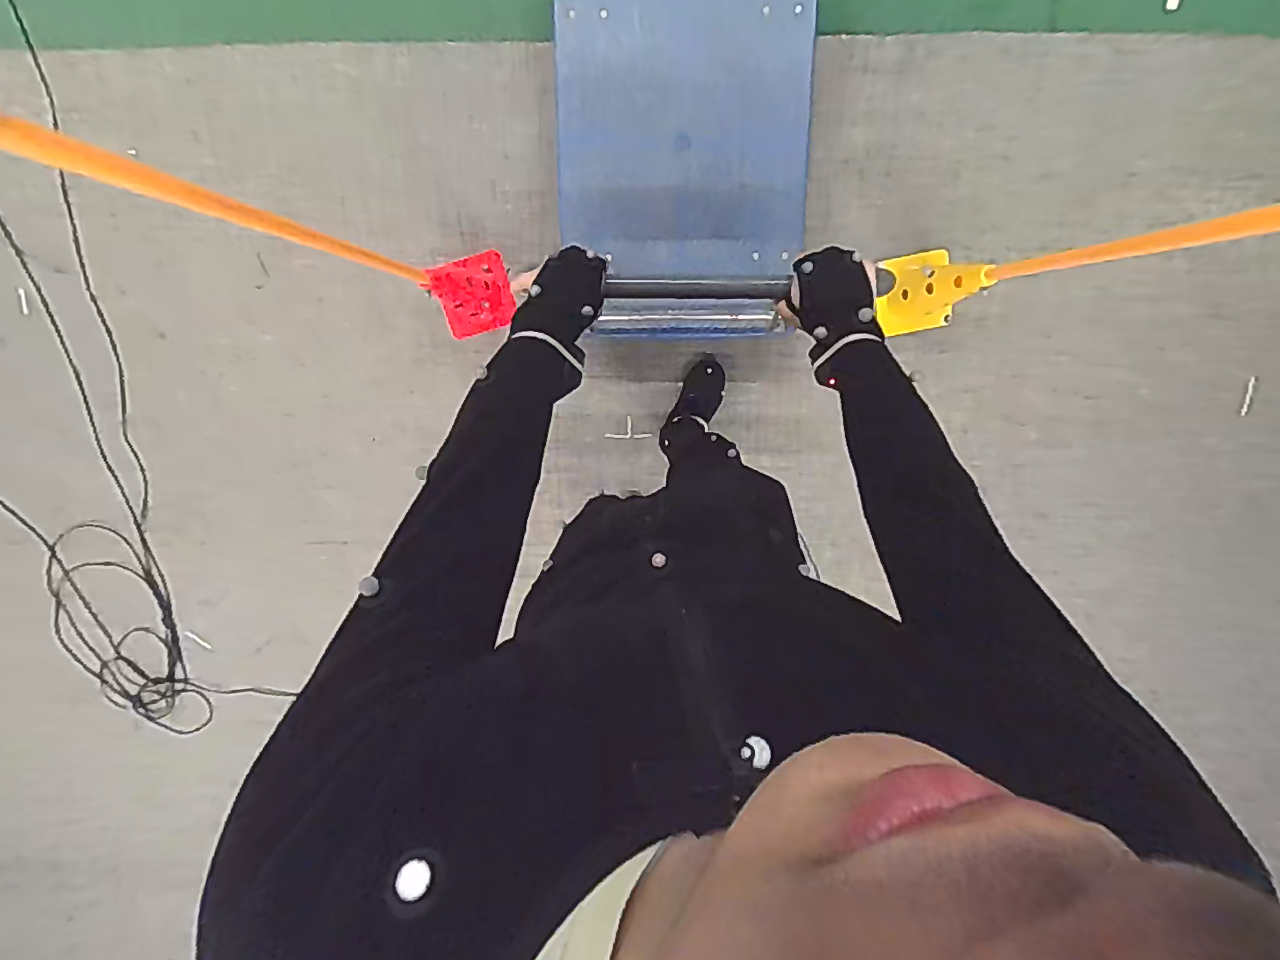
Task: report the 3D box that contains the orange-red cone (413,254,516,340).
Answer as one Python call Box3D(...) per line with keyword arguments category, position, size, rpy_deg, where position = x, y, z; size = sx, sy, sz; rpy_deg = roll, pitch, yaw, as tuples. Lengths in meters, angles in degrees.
Box3D(category="orange-red cone", position=(-0.456, -0.458, 1.308), size=(0.199, 0.360, 0.198), rpy_deg=(-14, 102, 6))
